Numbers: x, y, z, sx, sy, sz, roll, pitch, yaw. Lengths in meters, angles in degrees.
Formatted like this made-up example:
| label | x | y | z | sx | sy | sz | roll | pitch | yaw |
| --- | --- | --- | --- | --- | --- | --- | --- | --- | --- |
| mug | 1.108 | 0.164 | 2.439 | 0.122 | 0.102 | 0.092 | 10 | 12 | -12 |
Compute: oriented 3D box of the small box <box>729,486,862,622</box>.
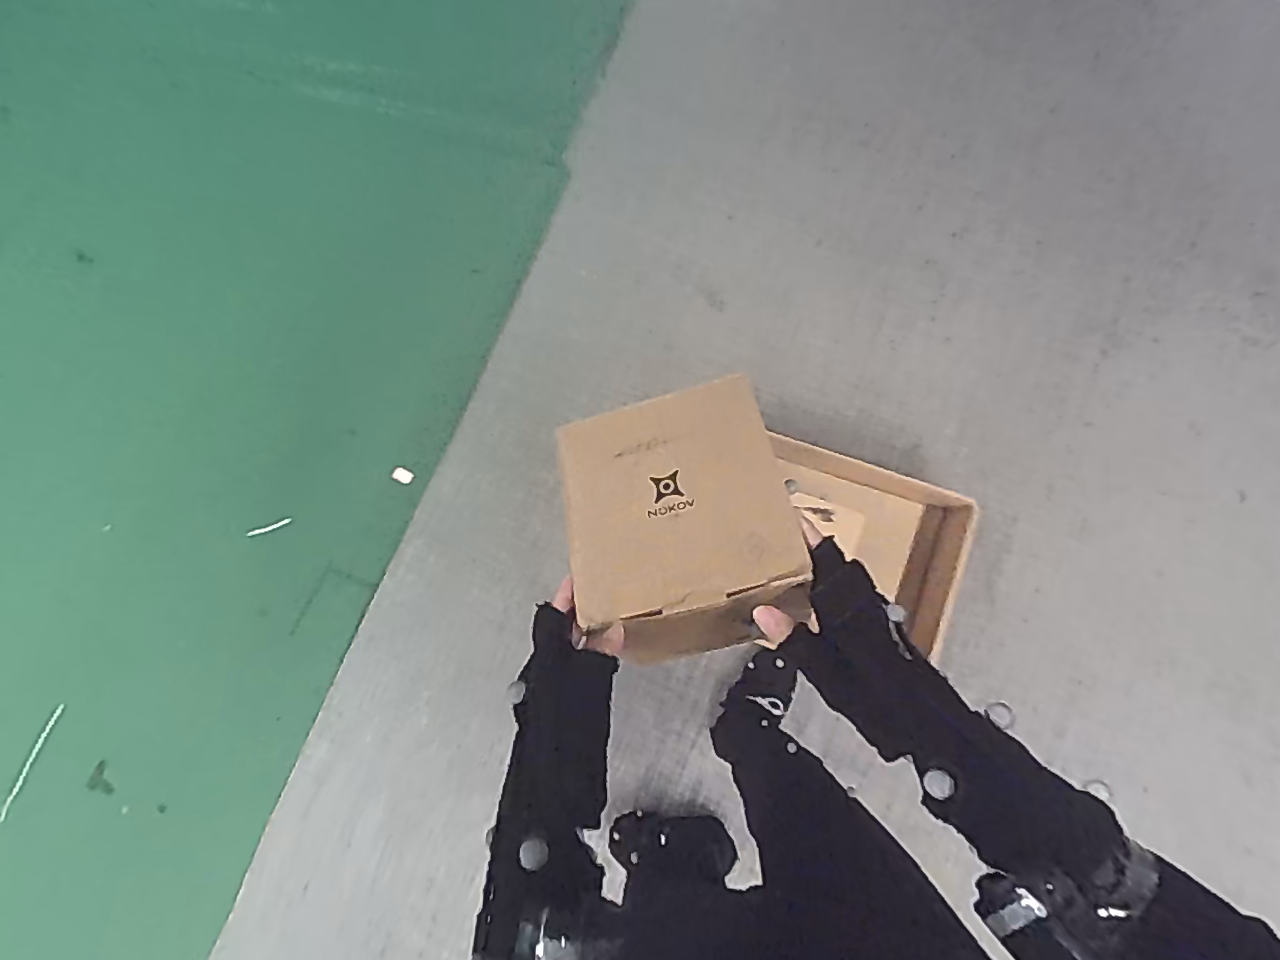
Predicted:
| label | x | y | z | sx | sy | sz | roll | pitch | yaw |
| --- | --- | --- | --- | --- | --- | --- | --- | --- | --- |
| small box | 0.261 | 0.129 | 0.945 | 0.168 | 0.176 | 0.179 | 20 | 84 | 10 |

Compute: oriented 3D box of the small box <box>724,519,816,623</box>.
| label | x | y | z | sx | sy | sz | roll | pitch | yaw |
| --- | --- | --- | --- | --- | --- | --- | --- | --- | --- |
| small box | 0.280 | 0.174 | 1.102 | 0.179 | 0.176 | 0.168 | 19 | 83 | 9 |
